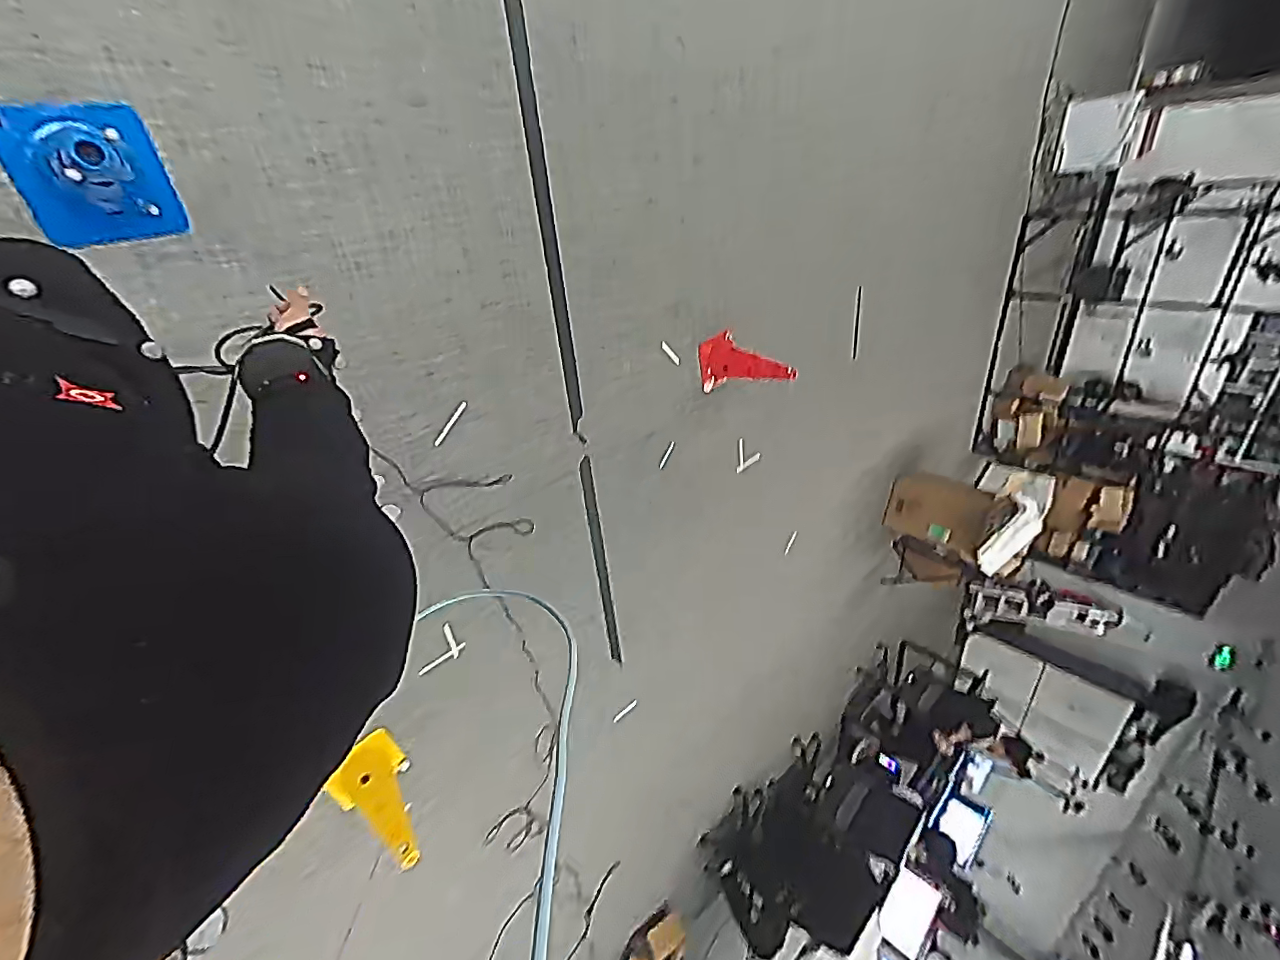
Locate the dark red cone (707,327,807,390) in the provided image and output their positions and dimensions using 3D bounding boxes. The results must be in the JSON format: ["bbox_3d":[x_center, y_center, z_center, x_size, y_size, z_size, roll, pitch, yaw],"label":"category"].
[{"bbox_3d":[0.442,-0.427,2.010,0.201,0.394,0.202,-35,130,-28],"label":"dark red cone"}]

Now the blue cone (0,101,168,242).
[{"bbox_3d":[-0.809,-0.452,0.772,0.192,0.380,0.193,-28,125,-33],"label":"blue cone"}]
